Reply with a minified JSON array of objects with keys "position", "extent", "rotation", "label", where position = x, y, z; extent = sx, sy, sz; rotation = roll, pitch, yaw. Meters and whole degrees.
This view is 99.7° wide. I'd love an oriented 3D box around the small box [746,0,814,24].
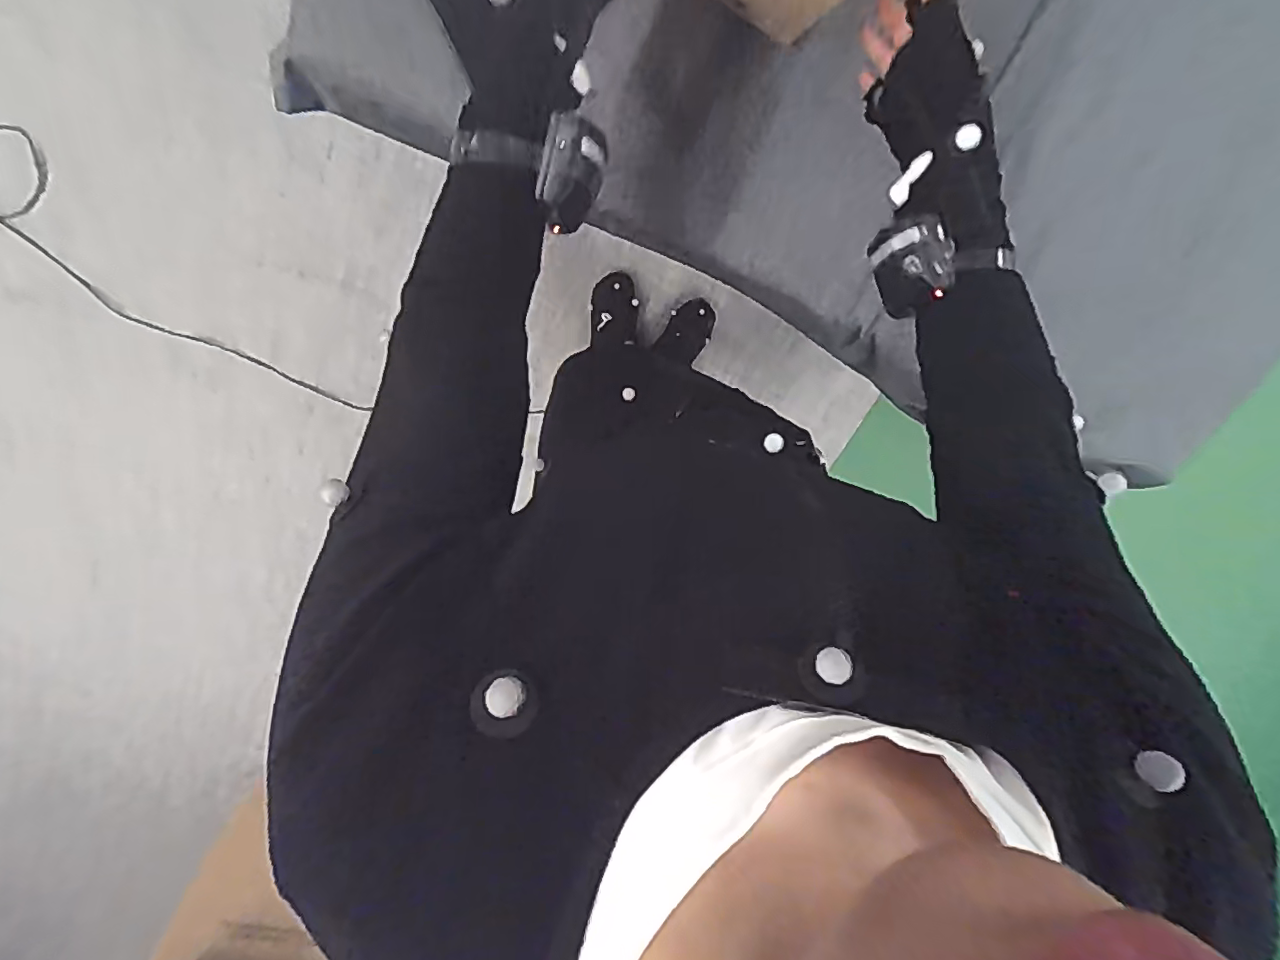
[{"position":[0.113,-0.489,0.393],"extent":[0.168,0.176,0.179],"rotation":[22,112,-16],"label":"small box"}]
